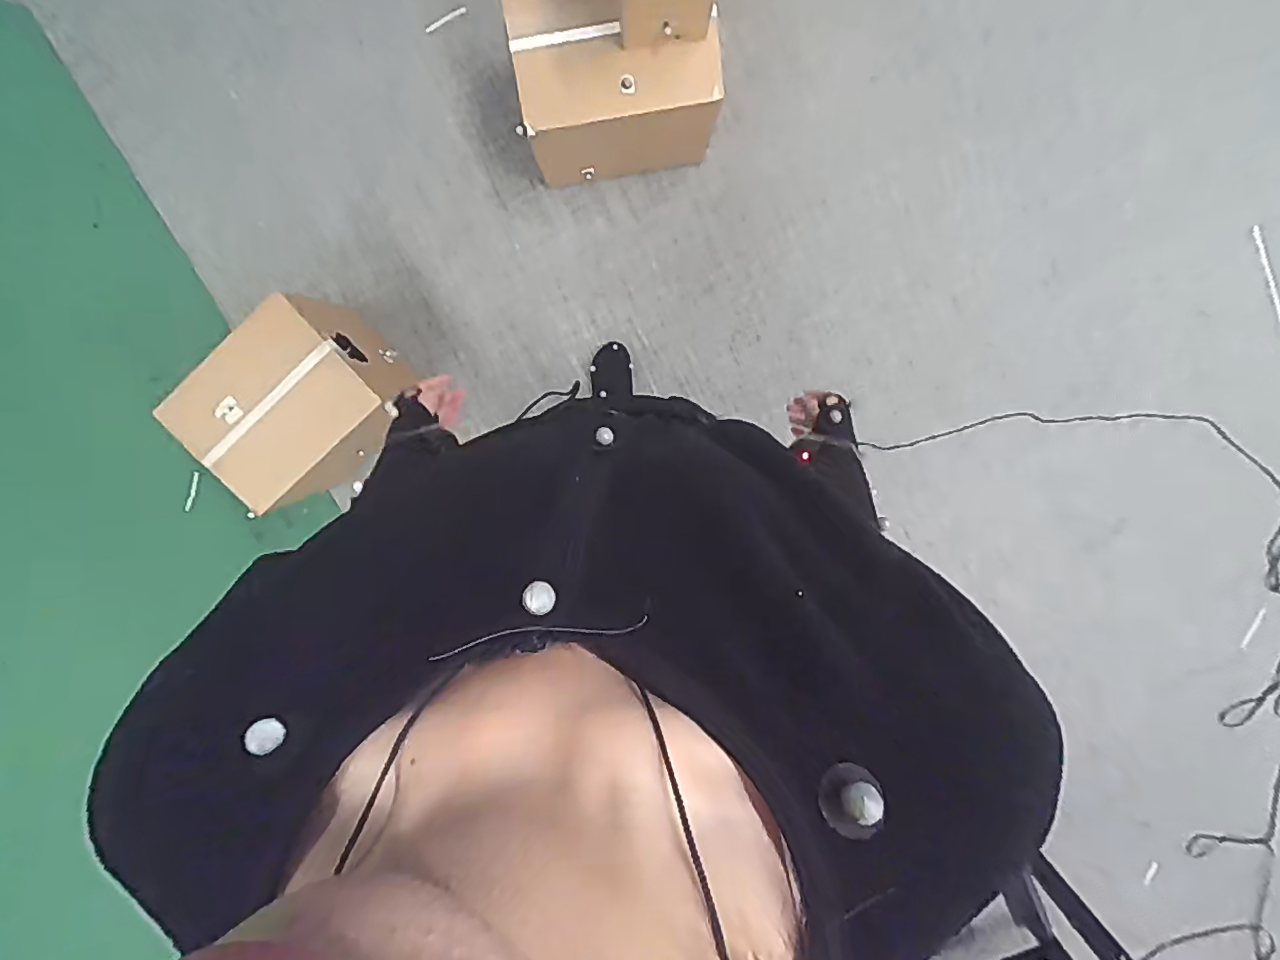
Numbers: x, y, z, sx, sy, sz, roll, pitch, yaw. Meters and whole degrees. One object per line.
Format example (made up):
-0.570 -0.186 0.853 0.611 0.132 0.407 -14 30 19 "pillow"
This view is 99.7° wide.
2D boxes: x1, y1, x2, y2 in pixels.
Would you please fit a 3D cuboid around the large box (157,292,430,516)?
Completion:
-0.803 -0.187 1.315 0.408 0.320 0.320 -40 98 7 "large box"

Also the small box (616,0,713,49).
0.036 -0.909 0.945 0.168 0.176 0.179 -8 99 1 "small box"
